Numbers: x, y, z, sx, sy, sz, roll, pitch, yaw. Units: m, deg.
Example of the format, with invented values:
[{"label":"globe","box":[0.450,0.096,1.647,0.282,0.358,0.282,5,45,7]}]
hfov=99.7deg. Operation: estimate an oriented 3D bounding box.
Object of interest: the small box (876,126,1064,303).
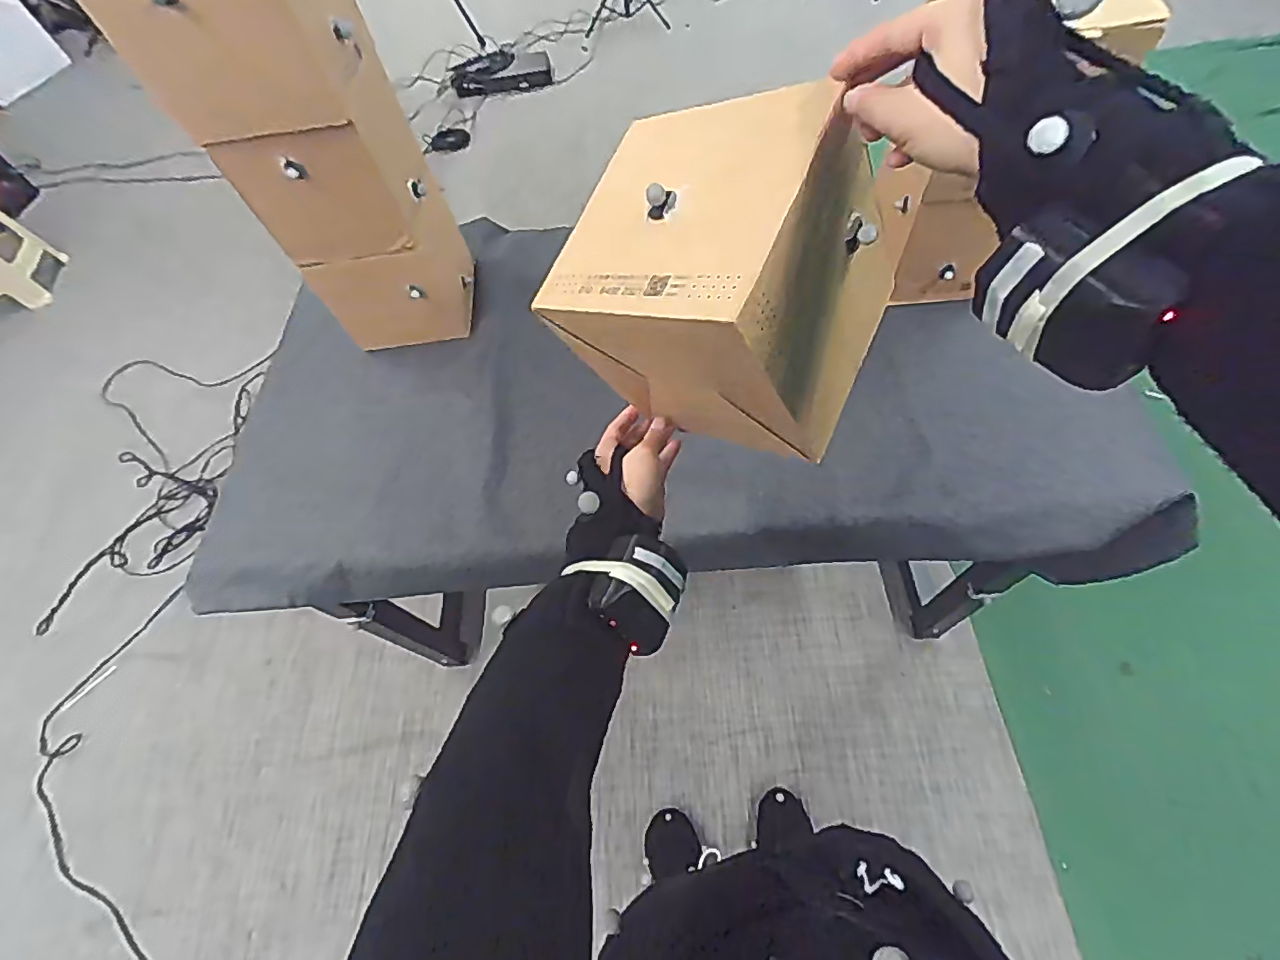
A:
[{"label":"small box","box":[0.431,-0.374,0.756,0.168,0.176,0.179,-3,62,6]}]

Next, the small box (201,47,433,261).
[{"label":"small box","box":[-0.387,-0.402,0.685,0.179,0.176,0.168,-7,63,1]}]

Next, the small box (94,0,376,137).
[{"label":"small box","box":[-0.400,-0.472,0.536,0.179,0.176,0.168,-6,63,2]}]

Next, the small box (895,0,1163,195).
[{"label":"small box","box":[0.409,-0.447,0.610,0.168,0.176,0.179,-2,63,6]}]

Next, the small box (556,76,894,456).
[{"label":"small box","box":[0.062,-0.137,0.398,0.168,0.179,0.176,19,78,38]}]
